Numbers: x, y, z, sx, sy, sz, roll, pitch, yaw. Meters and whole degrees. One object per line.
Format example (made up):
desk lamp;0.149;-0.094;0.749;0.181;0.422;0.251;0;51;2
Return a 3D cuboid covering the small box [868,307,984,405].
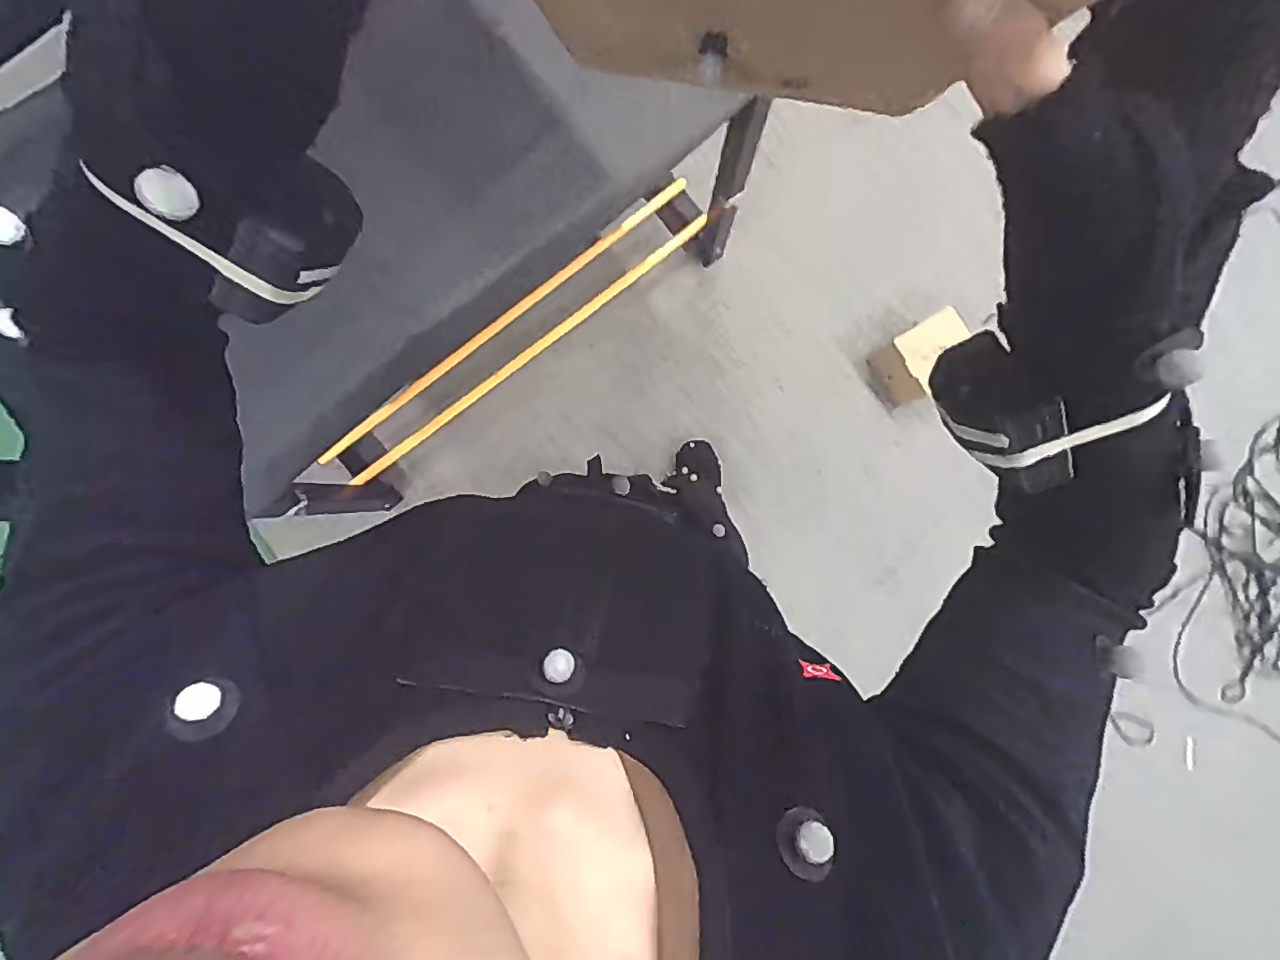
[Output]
small box;0.740;-0.318;1.420;0.179;0.176;0.168;-31;88;0
